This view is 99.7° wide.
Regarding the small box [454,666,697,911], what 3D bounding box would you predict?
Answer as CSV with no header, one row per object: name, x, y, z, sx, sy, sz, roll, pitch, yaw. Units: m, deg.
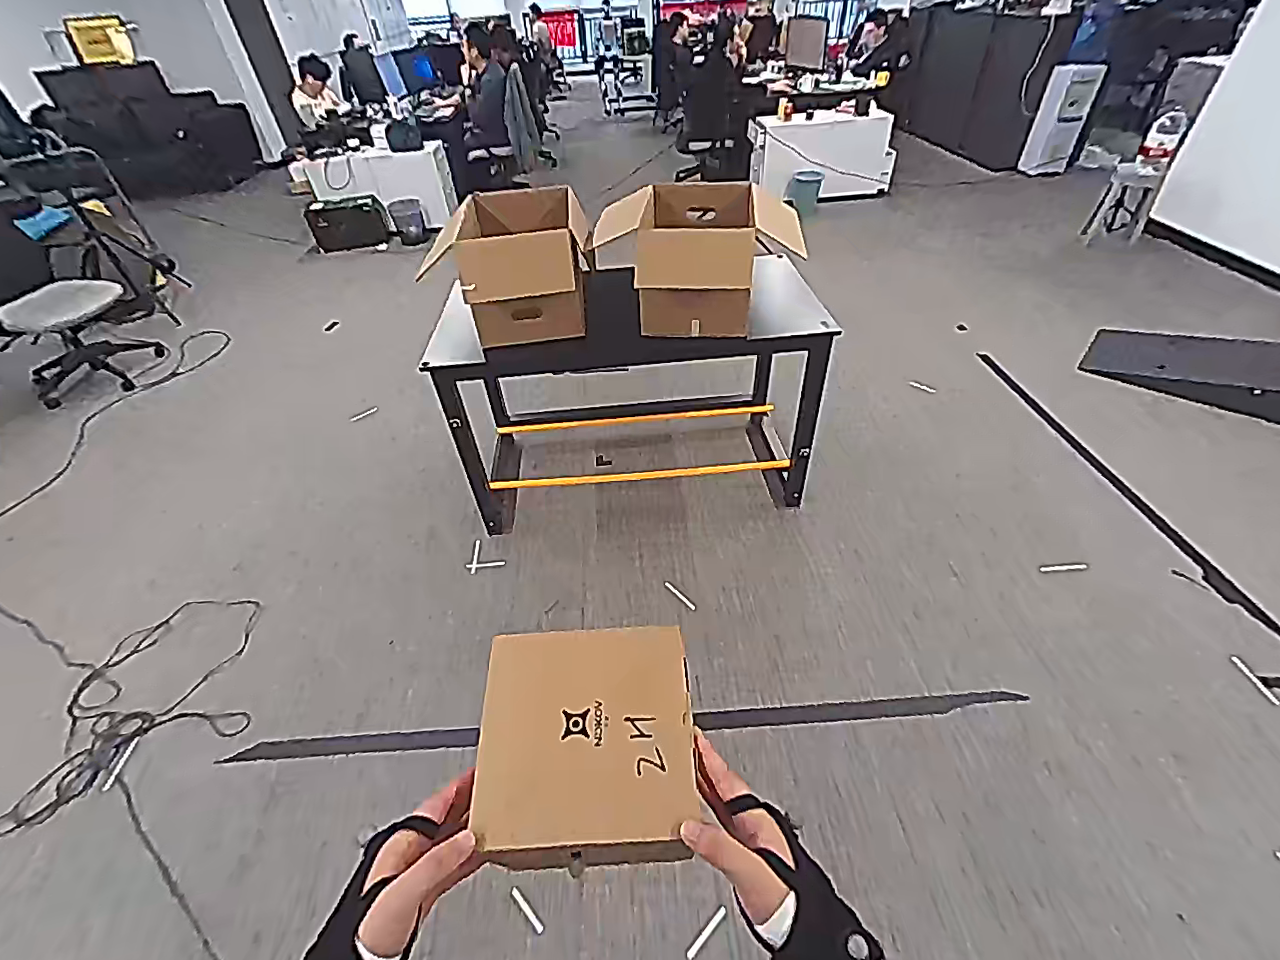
small box,-0.044,0.283,0.491,0.179,0.176,0.168,-3,51,0
